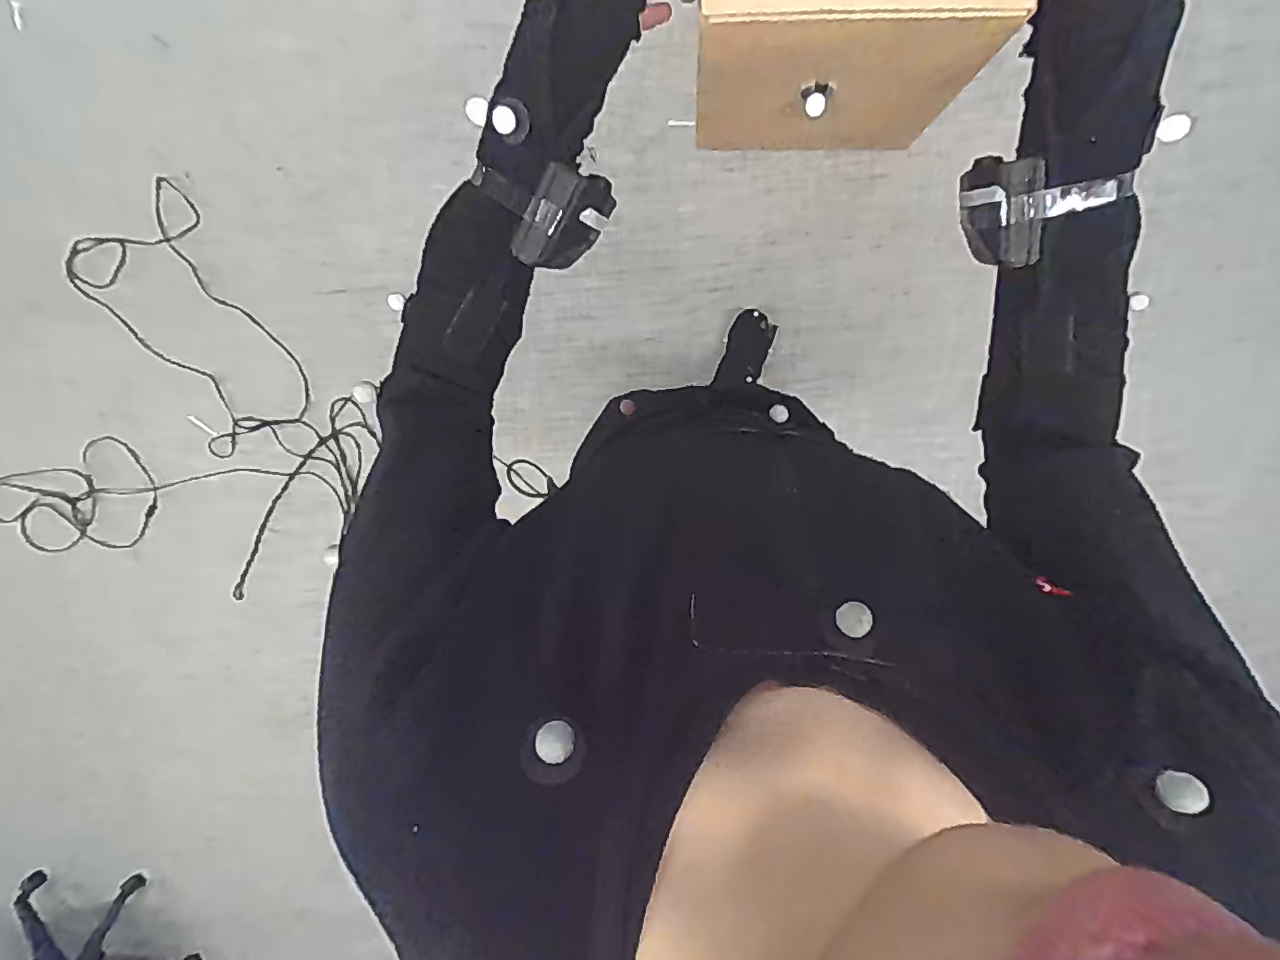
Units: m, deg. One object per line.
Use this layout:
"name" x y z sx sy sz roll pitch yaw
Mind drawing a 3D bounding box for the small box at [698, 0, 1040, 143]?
"small box" 0.131 -0.343 0.349 0.179 0.176 0.168 3 99 5
